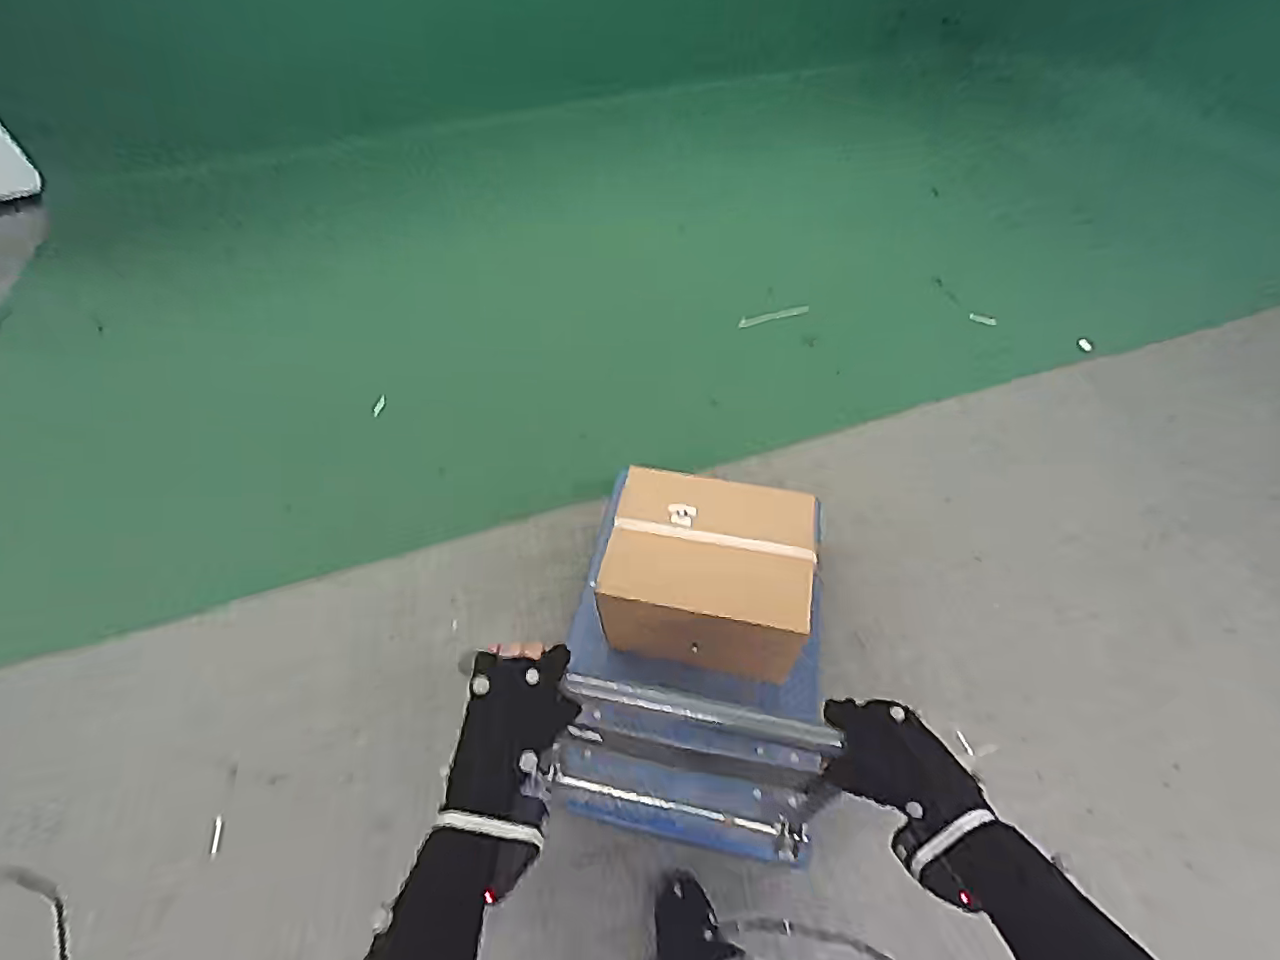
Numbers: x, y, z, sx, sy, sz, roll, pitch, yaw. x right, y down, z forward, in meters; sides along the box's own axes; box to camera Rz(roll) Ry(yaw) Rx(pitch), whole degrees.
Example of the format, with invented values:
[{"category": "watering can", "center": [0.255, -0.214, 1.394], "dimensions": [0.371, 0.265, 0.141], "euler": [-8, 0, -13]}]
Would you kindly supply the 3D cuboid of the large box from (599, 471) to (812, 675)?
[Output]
[{"category": "large box", "center": [0.155, 0.213, 1.219], "dimensions": [0.408, 0.320, 0.320], "euler": [8, 53, 11]}]
